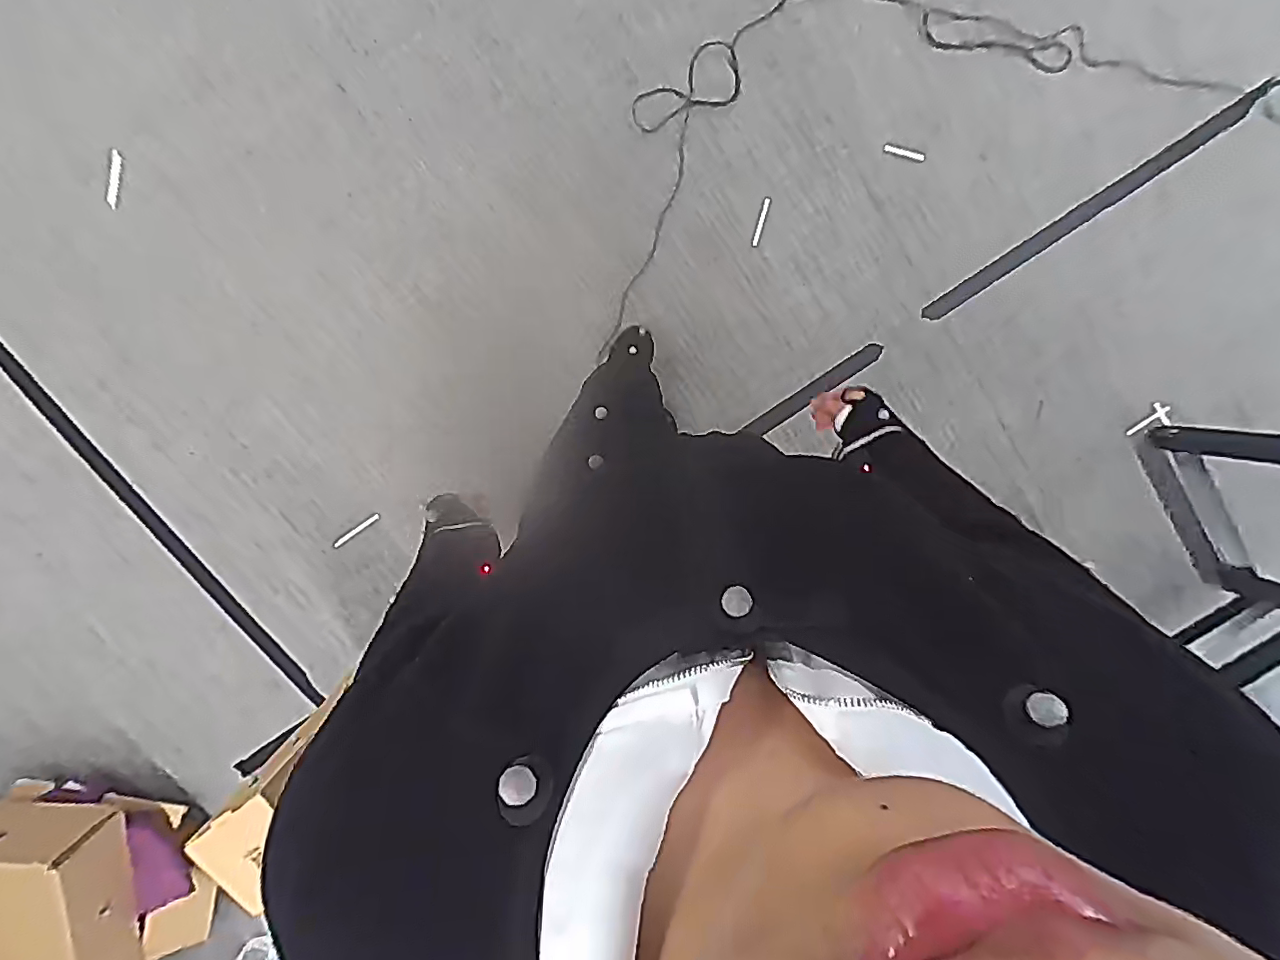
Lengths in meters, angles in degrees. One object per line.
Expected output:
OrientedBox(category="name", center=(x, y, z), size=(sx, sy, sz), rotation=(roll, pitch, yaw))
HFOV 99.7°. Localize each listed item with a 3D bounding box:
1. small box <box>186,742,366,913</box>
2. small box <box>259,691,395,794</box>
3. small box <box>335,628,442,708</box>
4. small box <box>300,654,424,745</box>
OrientedBox(category="small box", center=(-0.650, 0.617, 0.989), size=(0.168, 0.176, 0.179), rotation=(-35, 98, 3))
OrientedBox(category="small box", center=(-0.654, 0.589, 1.151), size=(0.179, 0.176, 0.168), rotation=(-35, 99, 4))
OrientedBox(category="small box", center=(-0.672, 0.540, 1.473), size=(0.168, 0.176, 0.179), rotation=(-34, 99, 3))
OrientedBox(category="small box", center=(-0.660, 0.562, 1.311), size=(0.179, 0.176, 0.168), rotation=(-34, 100, 2))
